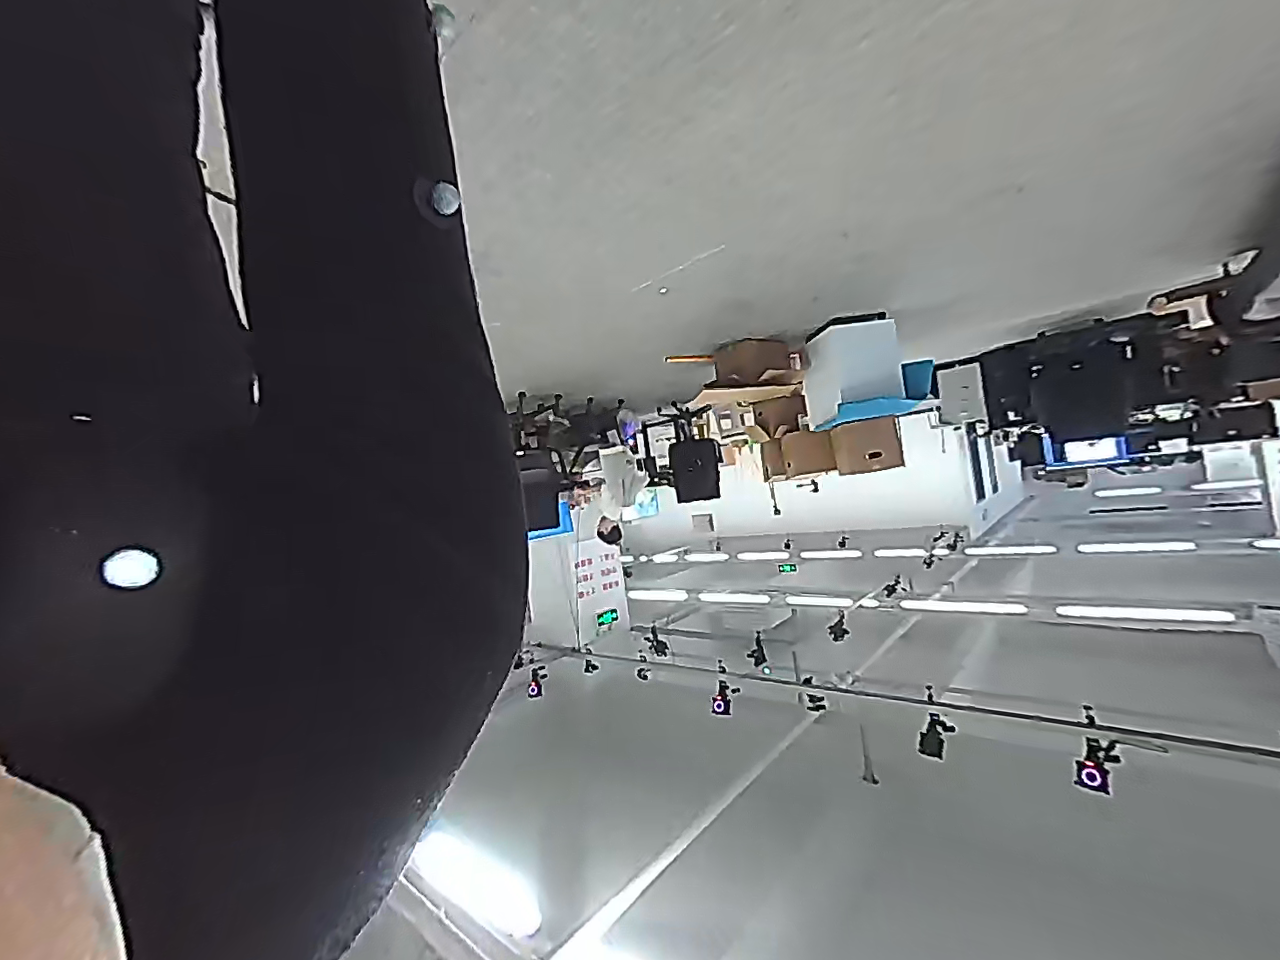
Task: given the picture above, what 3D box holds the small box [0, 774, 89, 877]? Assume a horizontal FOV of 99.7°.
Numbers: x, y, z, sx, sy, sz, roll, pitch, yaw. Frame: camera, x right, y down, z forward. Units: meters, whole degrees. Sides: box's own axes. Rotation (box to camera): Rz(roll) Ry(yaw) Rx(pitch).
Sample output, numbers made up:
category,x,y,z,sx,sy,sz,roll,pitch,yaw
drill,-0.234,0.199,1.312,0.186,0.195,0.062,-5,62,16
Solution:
category,x,y,z,sx,sy,sz,roll,pitch,yaw
small box,-1.738,0.992,1.572,0.168,0.176,0.179,-8,180,43
